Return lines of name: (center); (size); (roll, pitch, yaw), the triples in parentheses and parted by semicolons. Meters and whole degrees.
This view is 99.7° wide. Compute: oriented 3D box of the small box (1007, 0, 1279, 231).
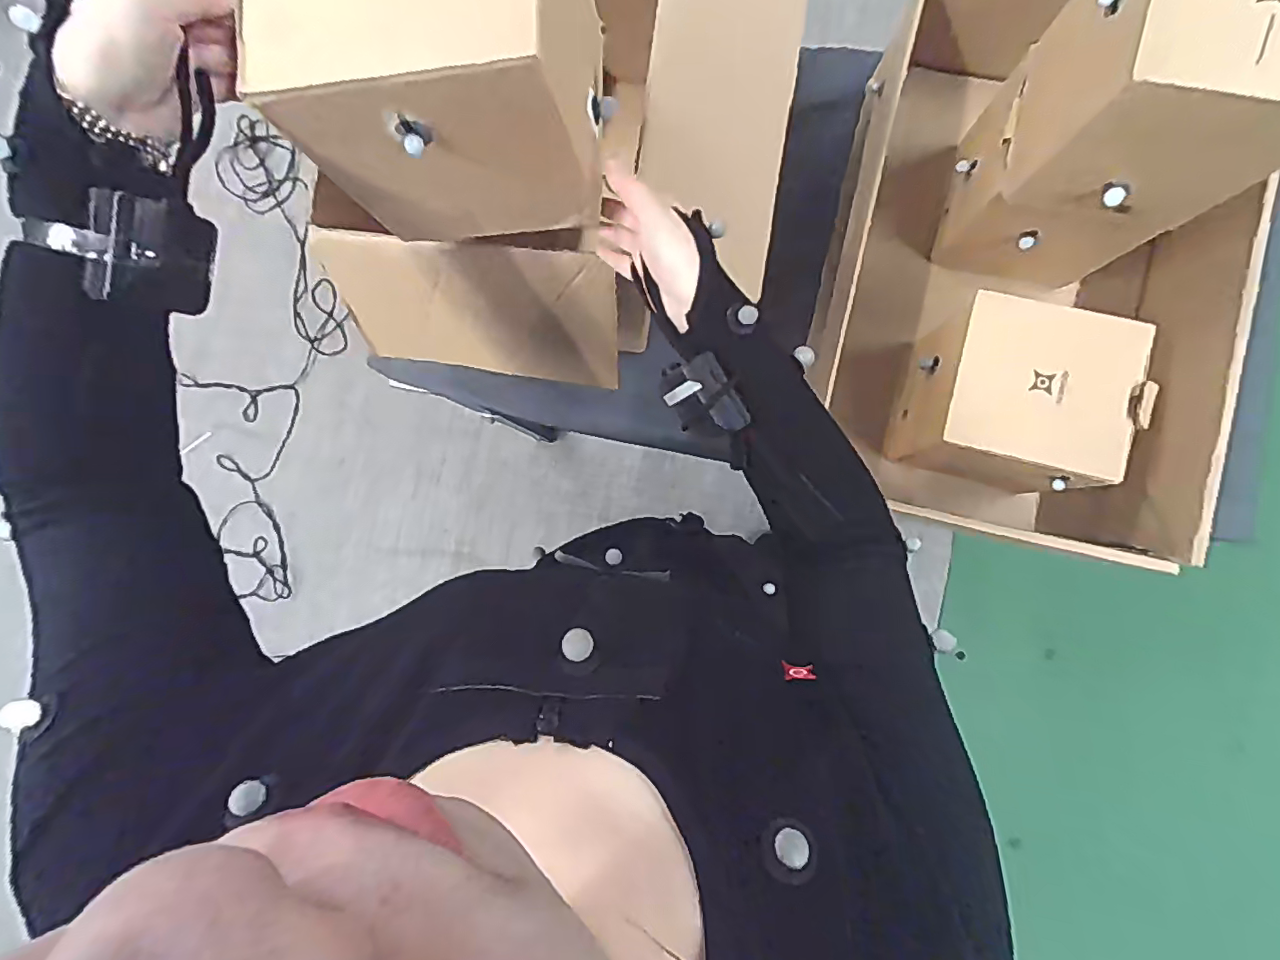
small box: (0.461, -0.352, 0.470); (0.168, 0.176, 0.179); (14, 90, 6)

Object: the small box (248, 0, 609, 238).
small box: (-0.123, -0.287, 0.373); (0.179, 0.176, 0.168); (-2, 87, 7)
